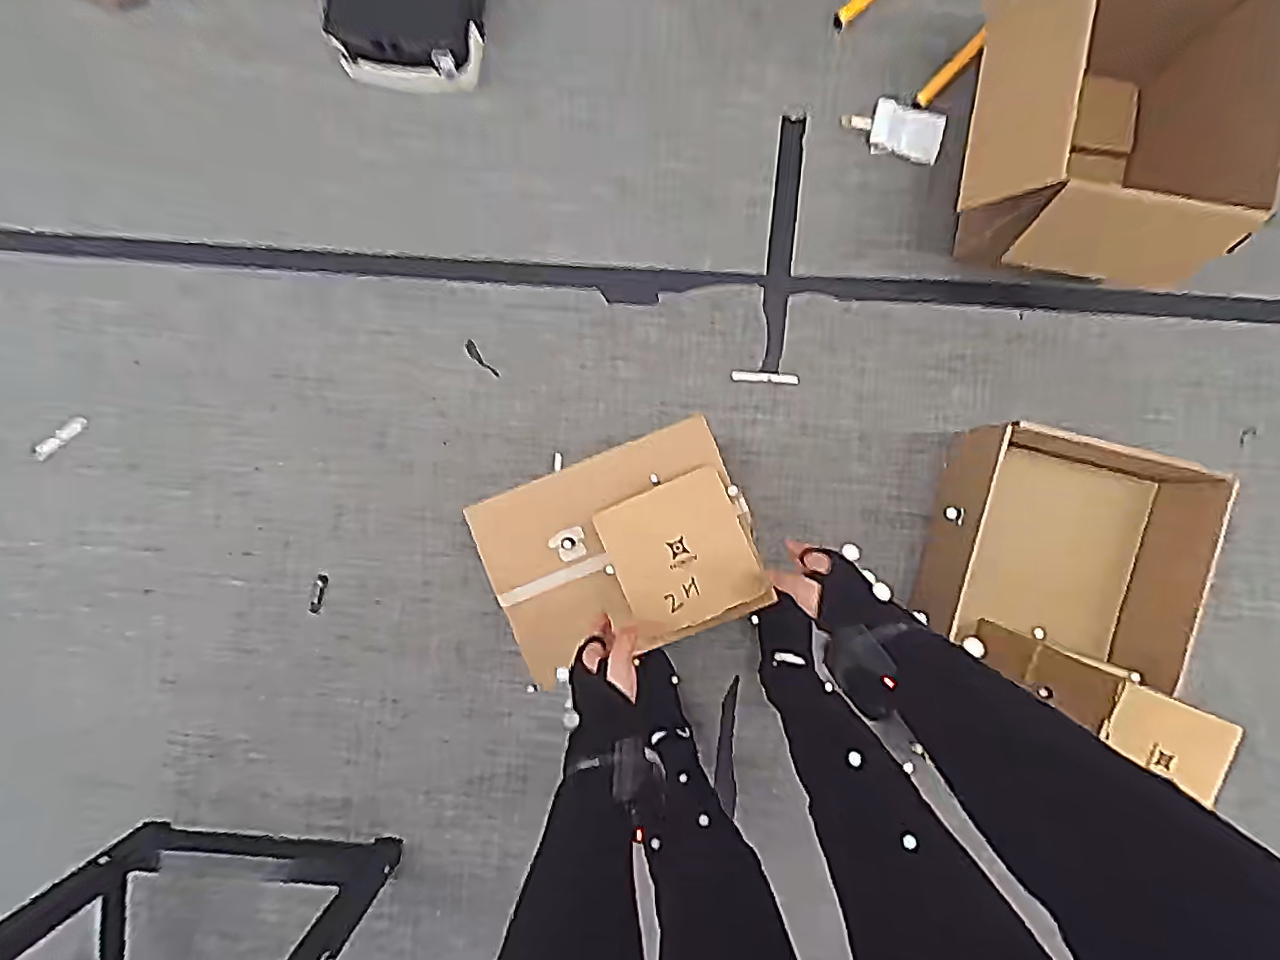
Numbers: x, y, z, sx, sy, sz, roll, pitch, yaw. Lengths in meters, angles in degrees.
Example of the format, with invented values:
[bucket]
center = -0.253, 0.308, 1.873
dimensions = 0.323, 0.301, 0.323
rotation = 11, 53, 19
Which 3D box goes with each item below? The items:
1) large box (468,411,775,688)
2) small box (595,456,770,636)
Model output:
[large box]
center = -0.023, 0.104, 0.980
dimensions = 0.408, 0.320, 0.320
rotation = -22, 90, 3
[small box]
center = 0.053, 0.078, 0.730
dimensions = 0.168, 0.176, 0.179
rotation = -23, 91, 4
